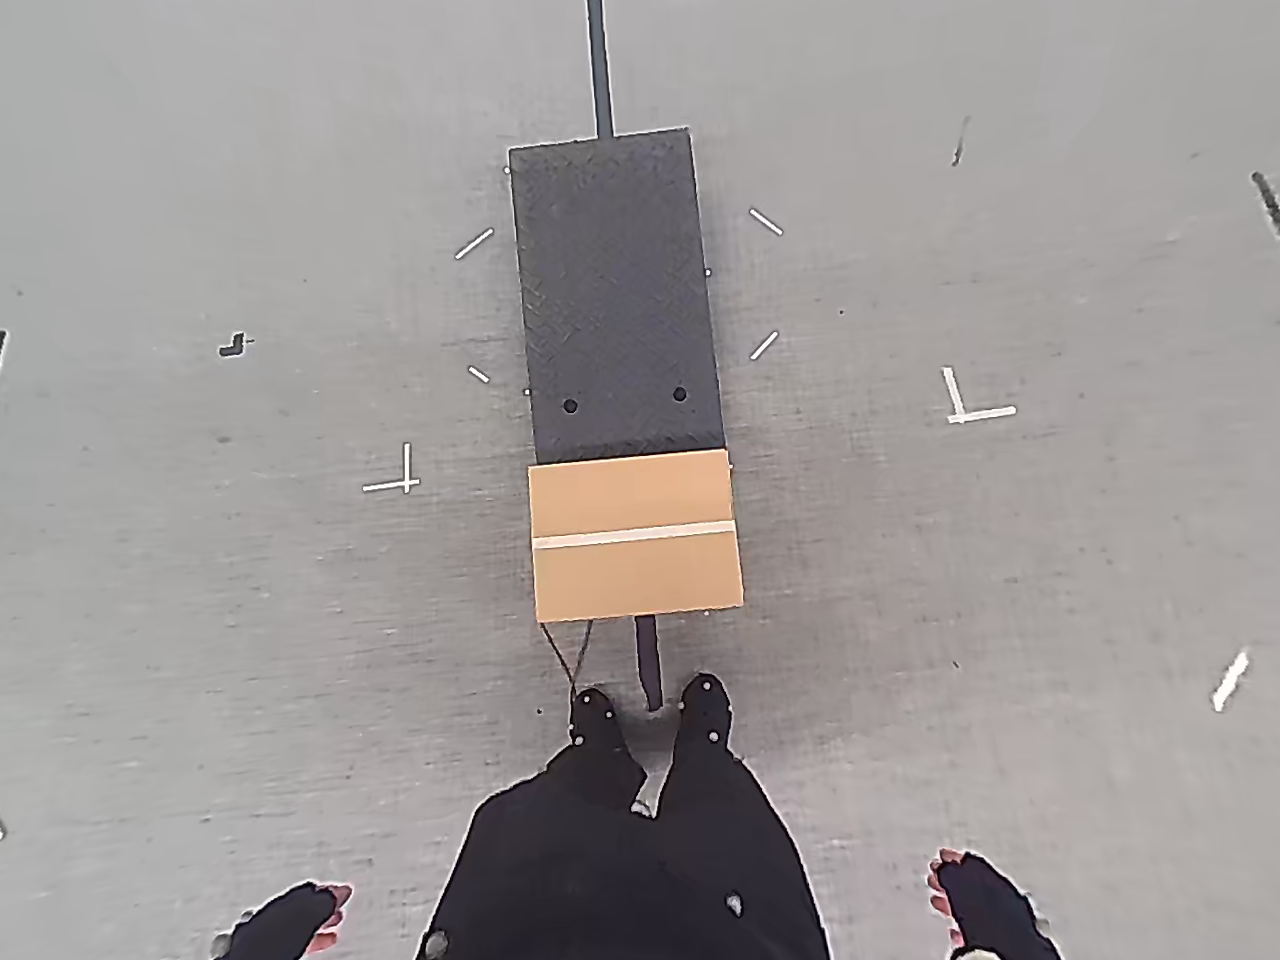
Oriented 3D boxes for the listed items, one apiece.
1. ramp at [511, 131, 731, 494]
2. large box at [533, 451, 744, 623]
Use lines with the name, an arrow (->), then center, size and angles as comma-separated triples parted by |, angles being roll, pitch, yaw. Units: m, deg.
ramp -> -0.054, -0.417, 1.429 | 0.509, 0.206, 0.991 | -8, 76, 0
large box -> 0.000, 0.134, 1.224 | 0.408, 0.320, 0.320 | -5, 79, 2
